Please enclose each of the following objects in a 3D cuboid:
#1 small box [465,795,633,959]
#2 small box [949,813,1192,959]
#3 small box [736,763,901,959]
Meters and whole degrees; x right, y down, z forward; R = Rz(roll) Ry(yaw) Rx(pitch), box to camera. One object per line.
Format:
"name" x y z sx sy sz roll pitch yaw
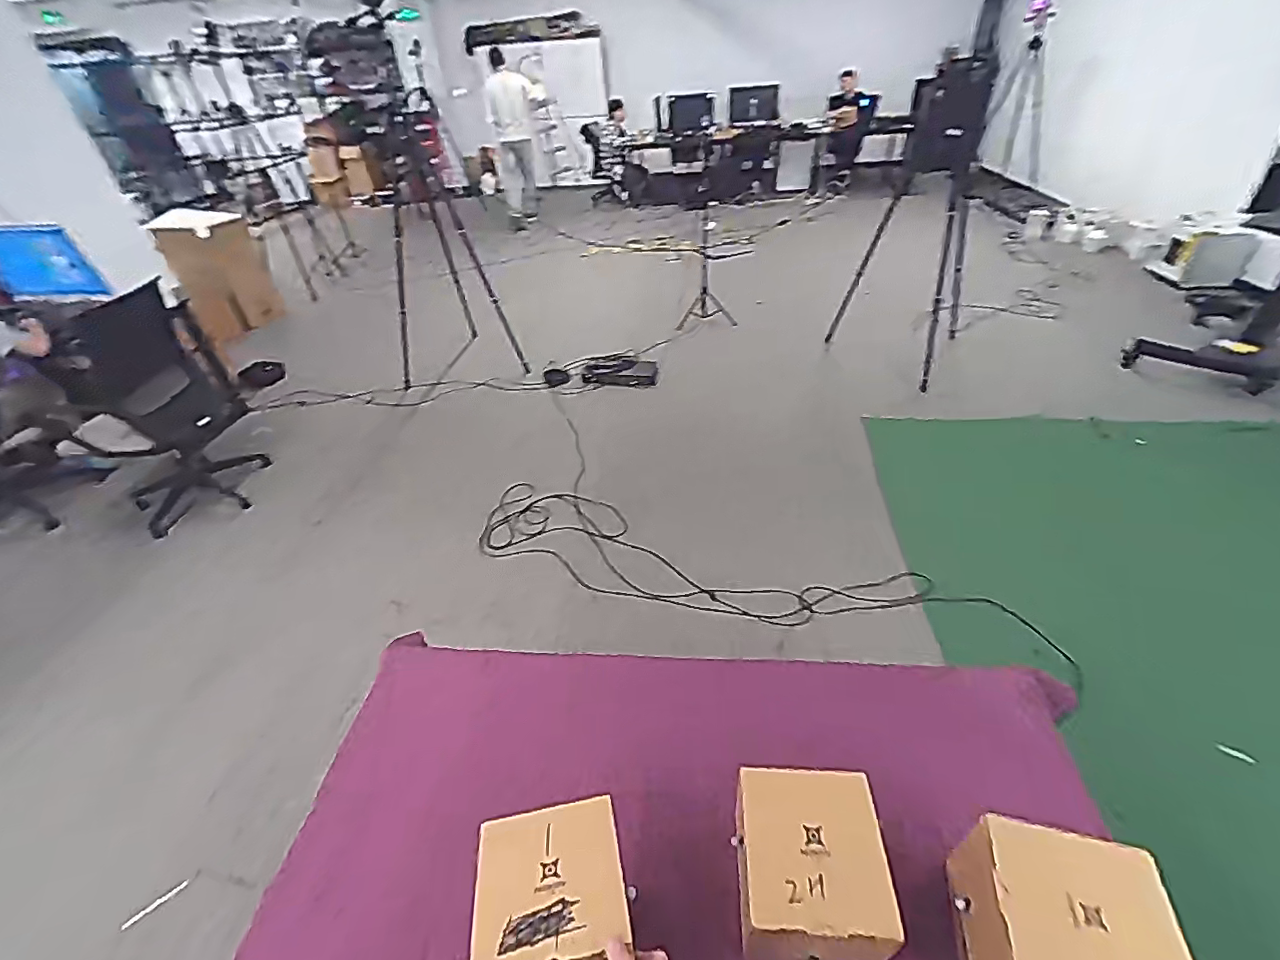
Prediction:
"small box" -0.099 0.519 0.633 0.168 0.176 0.179 -8 23 -8
"small box" 0.490 0.529 0.633 0.179 0.176 0.168 5 40 15
"small box" 0.214 0.499 0.703 0.168 0.176 0.179 -1 39 7
